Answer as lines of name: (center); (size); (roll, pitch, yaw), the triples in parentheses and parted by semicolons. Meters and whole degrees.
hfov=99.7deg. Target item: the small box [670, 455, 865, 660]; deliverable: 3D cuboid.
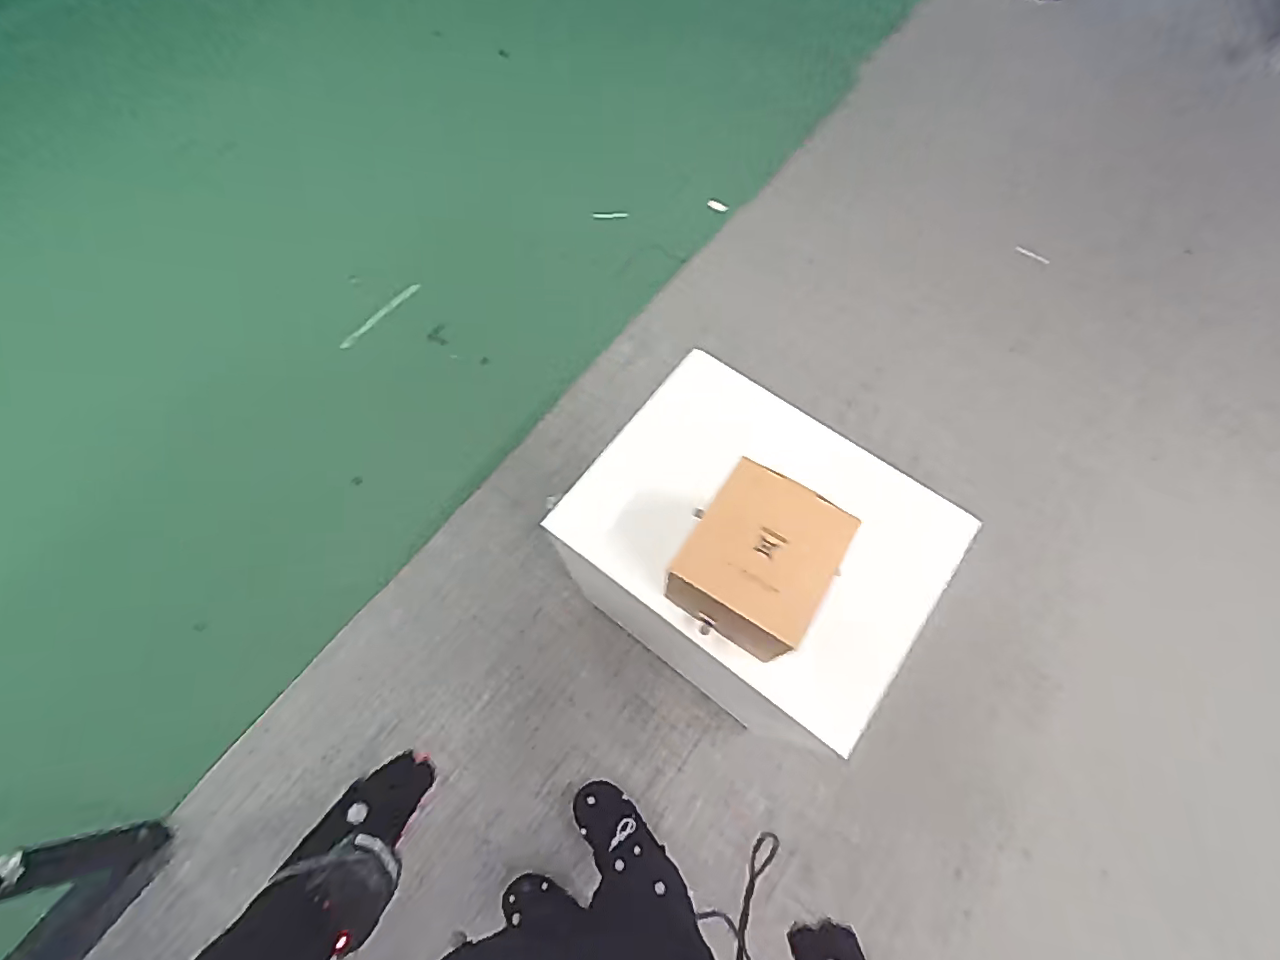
small box: (0.147, 0.105, 0.683); (0.168, 0.176, 0.179); (30, 72, 15)
